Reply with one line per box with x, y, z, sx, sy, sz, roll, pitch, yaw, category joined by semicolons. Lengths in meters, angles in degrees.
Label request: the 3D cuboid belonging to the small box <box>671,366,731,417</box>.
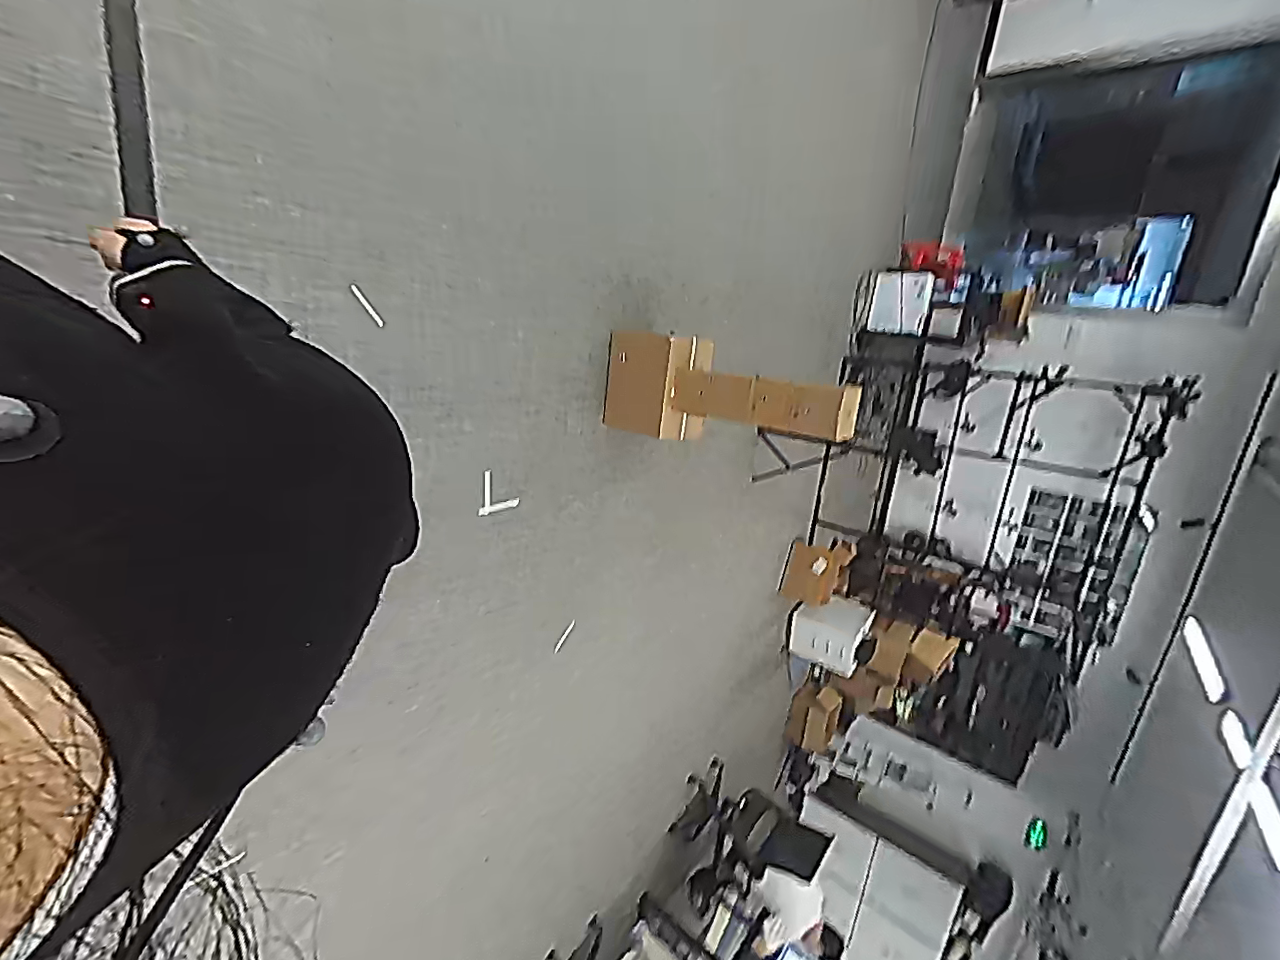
0.238;-0.354;2.136;0.168;0.176;0.179;-14;115;-49;small box

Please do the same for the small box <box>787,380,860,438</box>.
0.627;-0.249;1.854;0.179;0.176;0.168;-15;115;-48;small box

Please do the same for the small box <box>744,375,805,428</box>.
0.498;-0.287;1.950;0.179;0.176;0.168;-13;114;-49;small box
